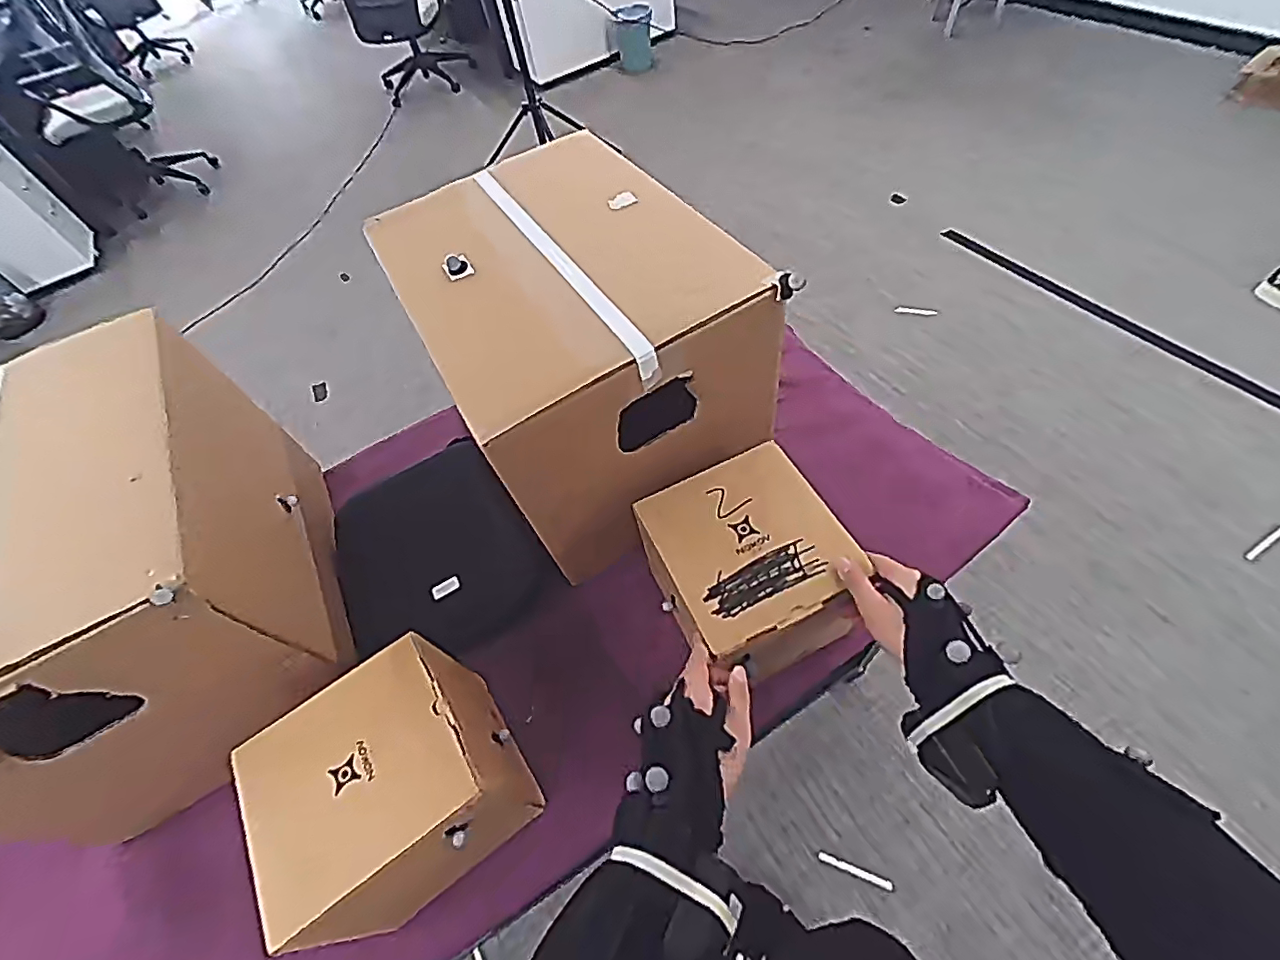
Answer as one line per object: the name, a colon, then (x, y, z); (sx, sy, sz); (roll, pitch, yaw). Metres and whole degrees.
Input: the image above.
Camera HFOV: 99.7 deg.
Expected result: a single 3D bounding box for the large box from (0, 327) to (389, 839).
large box: (-0.553, 0.111, 0.609); (0.320, 0.320, 0.408); (-31, 60, -11)
